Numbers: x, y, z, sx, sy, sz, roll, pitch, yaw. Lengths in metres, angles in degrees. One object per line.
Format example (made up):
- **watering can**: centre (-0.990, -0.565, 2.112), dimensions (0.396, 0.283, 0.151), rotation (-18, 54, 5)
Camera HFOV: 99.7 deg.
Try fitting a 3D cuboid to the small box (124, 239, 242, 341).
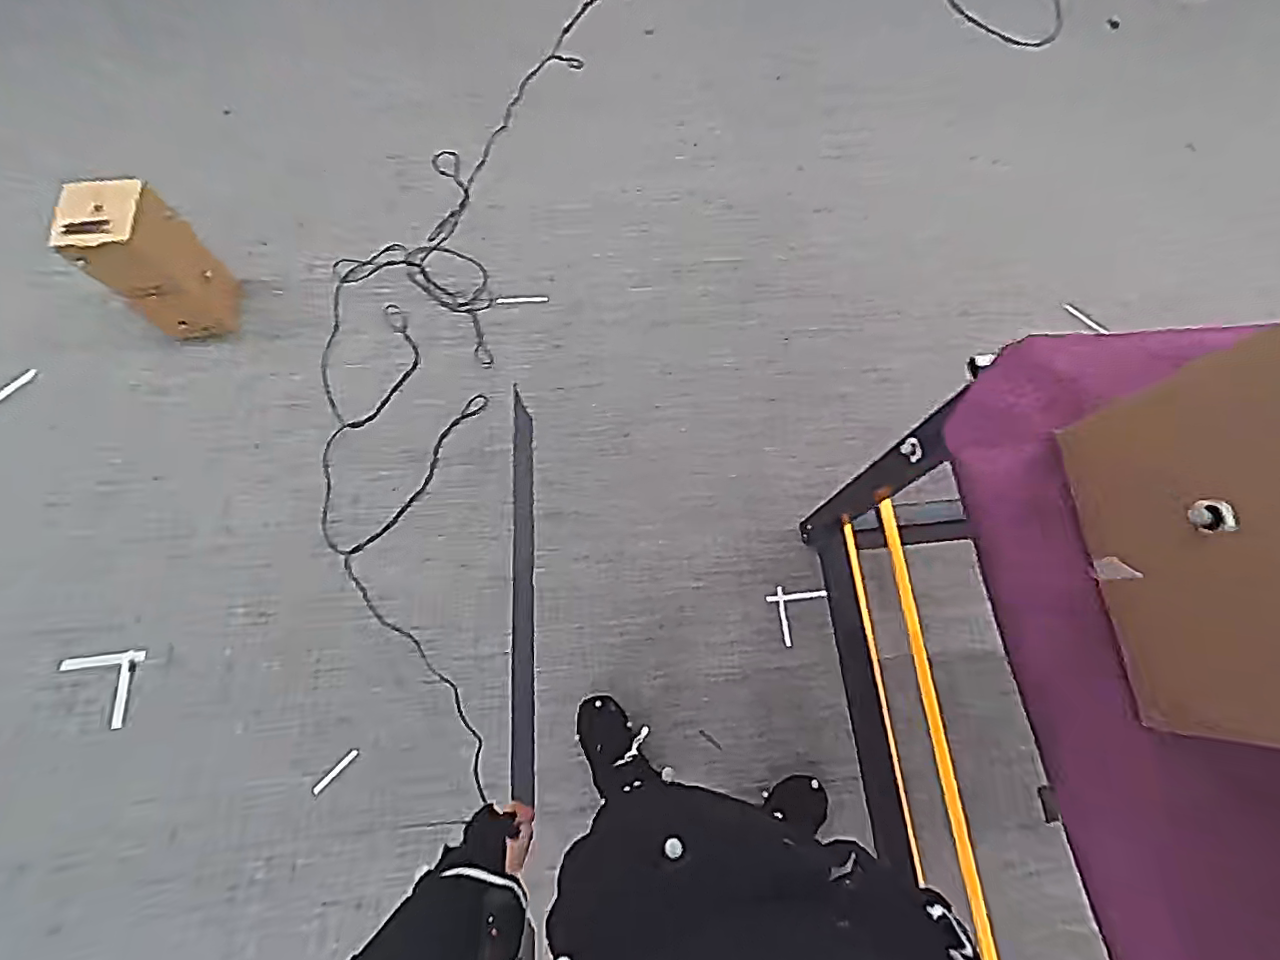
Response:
- **small box**: centre (-1.175, -0.491, 1.406), dimensions (0.168, 0.176, 0.179), rotation (-10, 72, -5)
